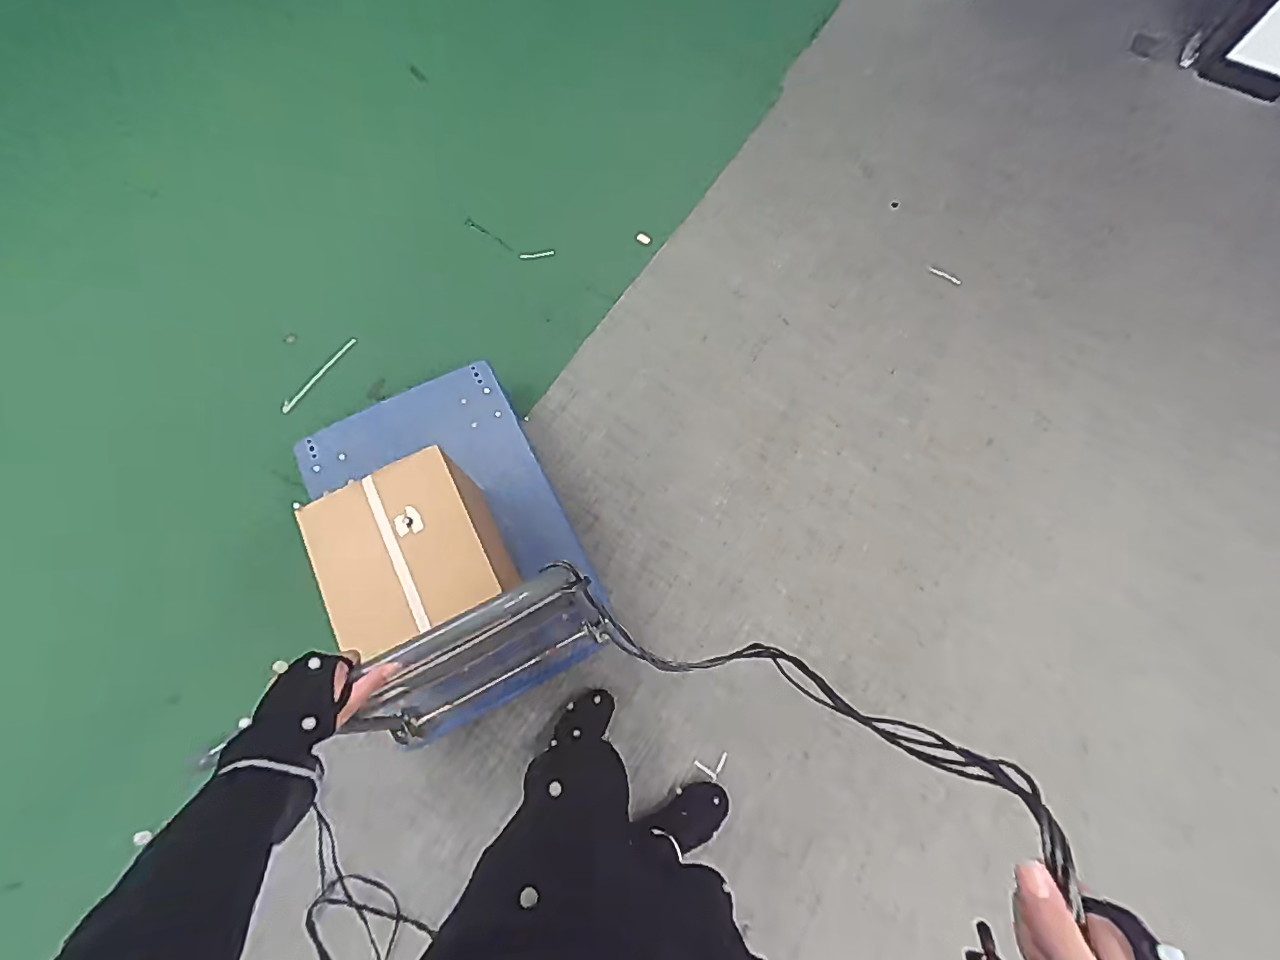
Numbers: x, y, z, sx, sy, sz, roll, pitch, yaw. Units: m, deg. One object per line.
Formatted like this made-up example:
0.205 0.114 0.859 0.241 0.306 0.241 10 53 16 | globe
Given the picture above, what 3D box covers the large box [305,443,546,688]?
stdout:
-0.453 0.199 1.205 0.320 0.320 0.408 -26 72 -8 | large box
